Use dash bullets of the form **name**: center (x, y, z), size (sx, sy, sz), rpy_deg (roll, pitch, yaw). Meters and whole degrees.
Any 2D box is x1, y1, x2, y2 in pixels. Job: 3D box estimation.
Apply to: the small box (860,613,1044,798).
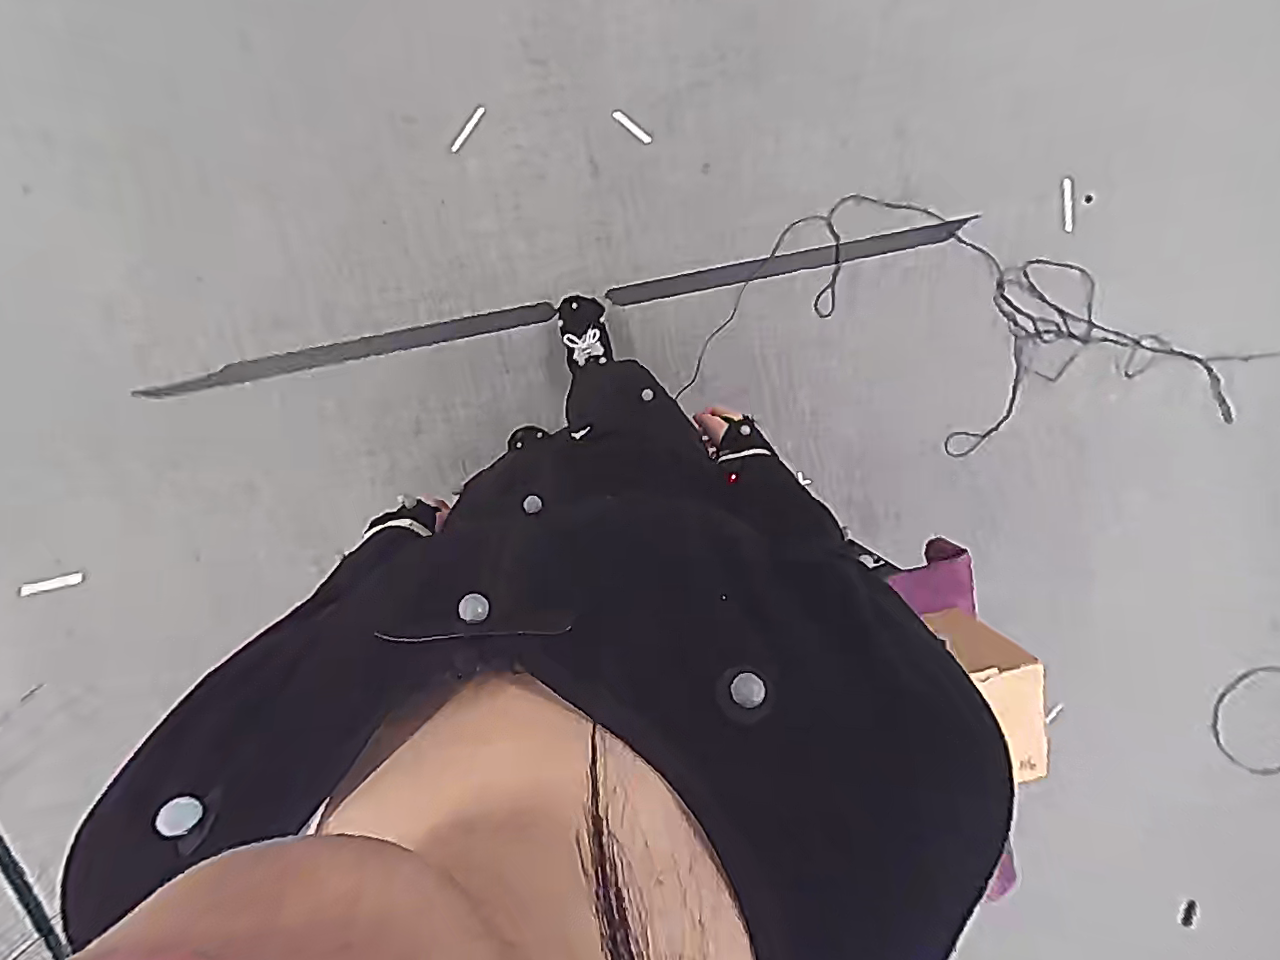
- **small box**: center (0.441, 0.311, 0.787), size (0.168, 0.176, 0.179), rpy_deg (-12, 102, -4)
